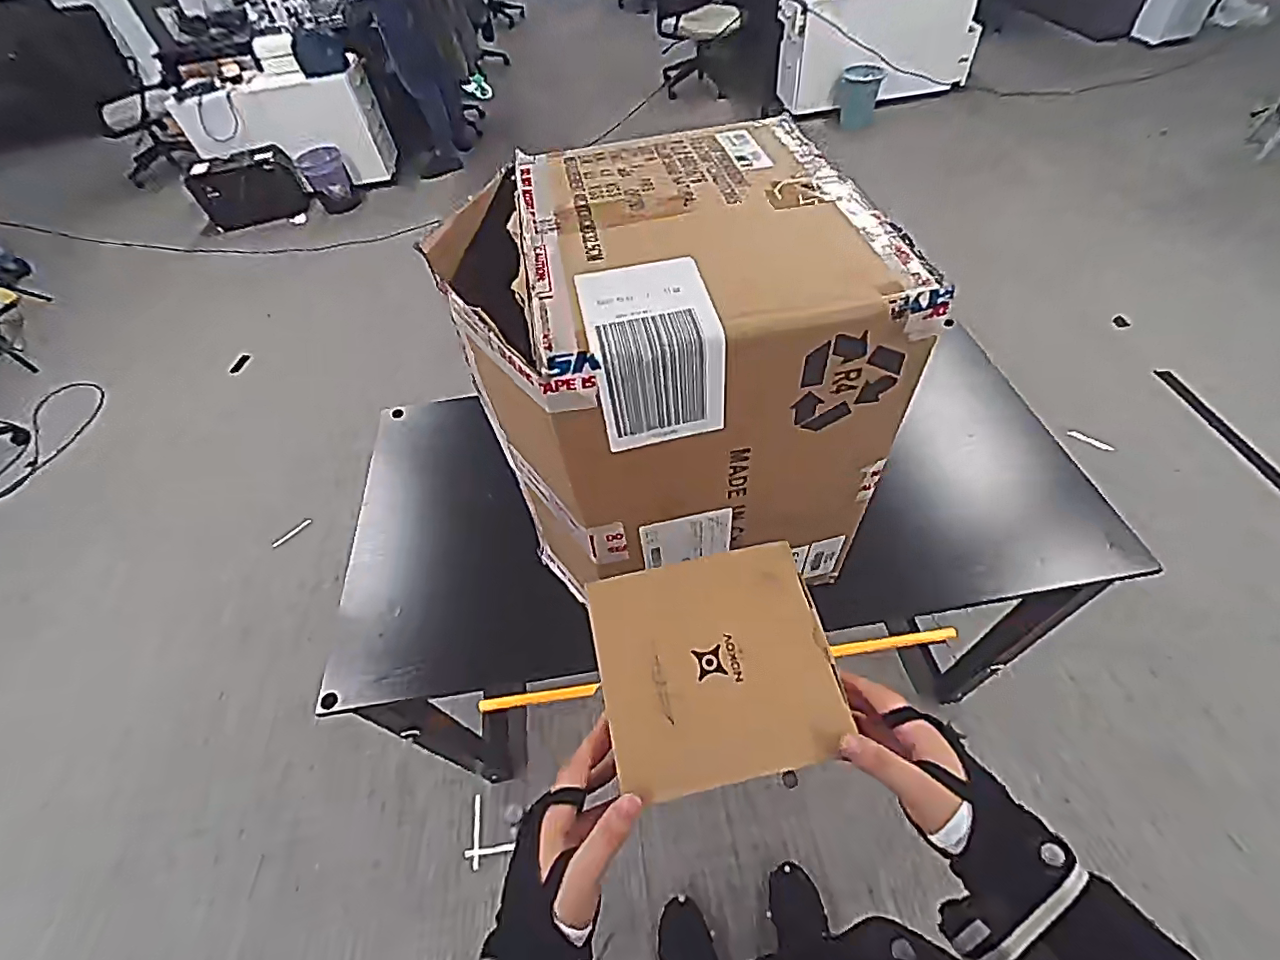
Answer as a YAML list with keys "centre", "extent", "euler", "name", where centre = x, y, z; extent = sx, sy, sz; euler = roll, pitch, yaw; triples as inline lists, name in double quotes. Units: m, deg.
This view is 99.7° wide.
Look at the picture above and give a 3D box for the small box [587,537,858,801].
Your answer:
- centre: [0.060, 0.172, 0.489]
  extent: [0.179, 0.176, 0.168]
  euler: [-14, 62, -3]
  name: "small box"
